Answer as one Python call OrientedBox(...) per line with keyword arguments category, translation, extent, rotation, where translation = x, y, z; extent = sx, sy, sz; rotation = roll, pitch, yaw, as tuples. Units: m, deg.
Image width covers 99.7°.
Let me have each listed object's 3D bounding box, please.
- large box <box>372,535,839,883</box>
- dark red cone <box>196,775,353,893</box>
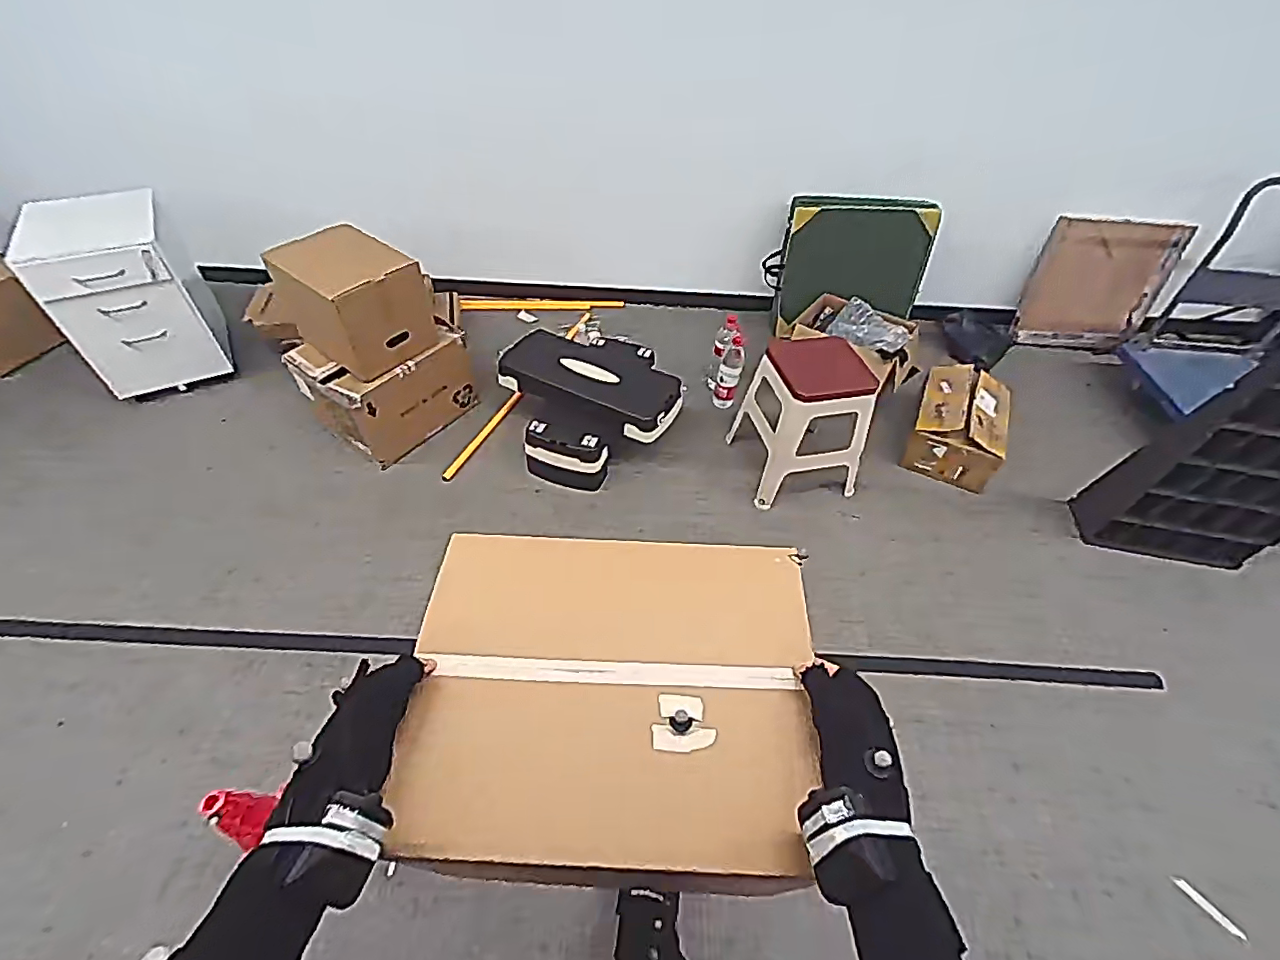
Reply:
OrientedBox(category="large box", translation=(-0.029, 0.286, 0.661), extent=(0.408, 0.320, 0.320), rotation=(3, 51, 1))
OrientedBox(category="dark red cone", translation=(-0.756, 0.663, 1.070), extent=(0.201, 0.394, 0.202), rotation=(9, 48, 3))
